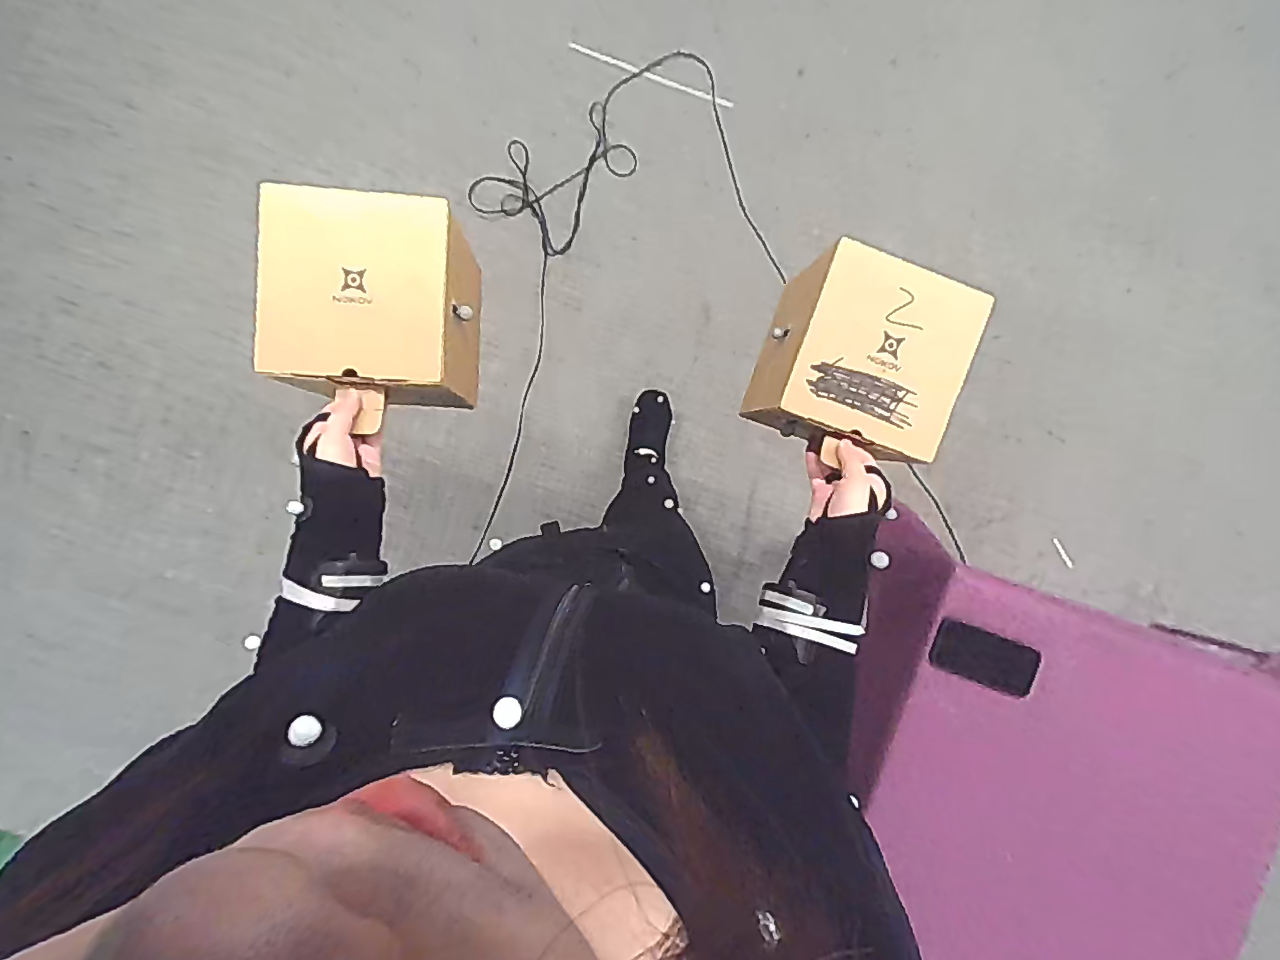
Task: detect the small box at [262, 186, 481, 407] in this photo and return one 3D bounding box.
[{"bbox_3d":[-0.272,-0.181,0.585,0.168,0.176,0.179,2,91,-6],"label":"small box"}]
